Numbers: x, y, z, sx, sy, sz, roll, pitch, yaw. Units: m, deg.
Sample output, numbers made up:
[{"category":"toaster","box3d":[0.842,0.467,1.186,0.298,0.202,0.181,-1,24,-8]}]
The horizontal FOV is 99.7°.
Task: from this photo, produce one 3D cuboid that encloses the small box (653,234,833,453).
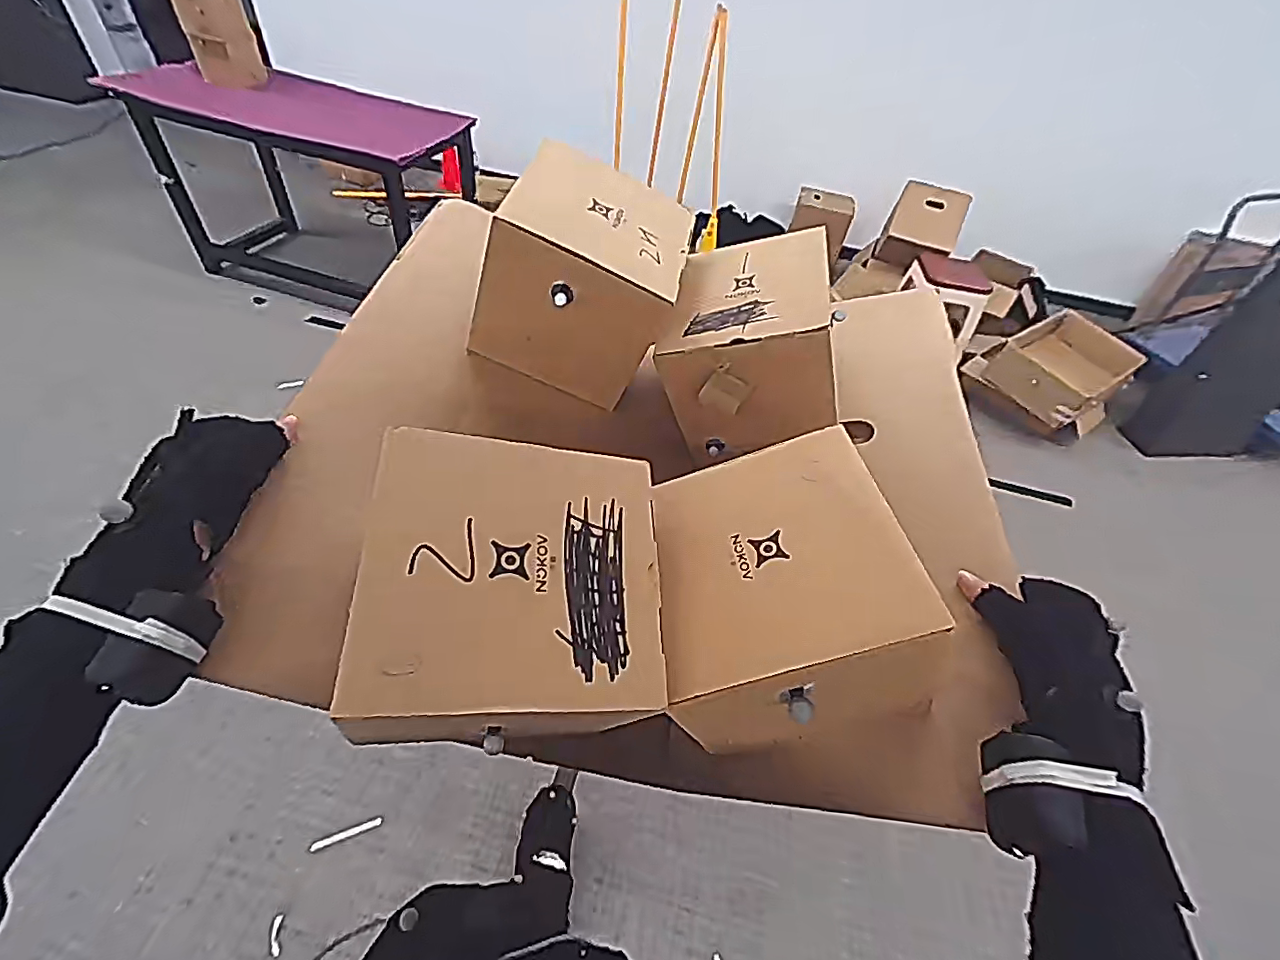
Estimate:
[{"category":"small box","box3d":[0.128,-0.143,0.619,0.168,0.176,0.179,-3,50,21]}]
